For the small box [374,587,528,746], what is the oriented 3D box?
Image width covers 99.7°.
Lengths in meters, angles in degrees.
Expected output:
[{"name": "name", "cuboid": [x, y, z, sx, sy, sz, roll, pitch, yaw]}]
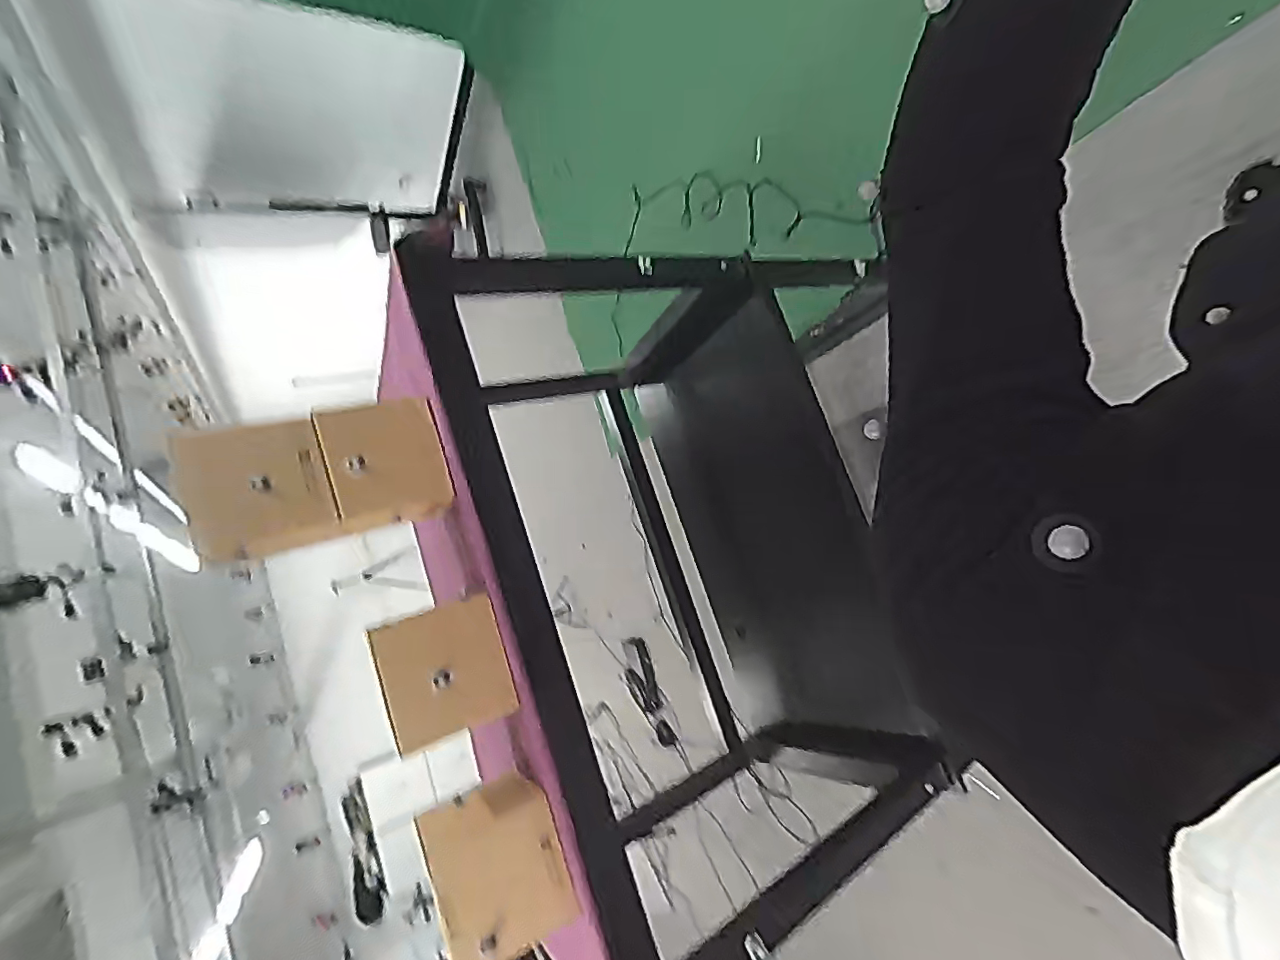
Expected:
[{"name": "small box", "cuboid": [-0.292, 0.269, 0.830, 0.168, 0.176, 0.179, -24, 83, 60]}]

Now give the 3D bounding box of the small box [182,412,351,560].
[{"name": "small box", "cuboid": [-0.543, 0.009, 0.811, 0.179, 0.176, 0.168, -27, 79, 59]}]

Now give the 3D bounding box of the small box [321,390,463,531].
[{"name": "small box", "cuboid": [-0.403, -0.031, 0.888, 0.168, 0.176, 0.179, -26, 80, 59]}]
